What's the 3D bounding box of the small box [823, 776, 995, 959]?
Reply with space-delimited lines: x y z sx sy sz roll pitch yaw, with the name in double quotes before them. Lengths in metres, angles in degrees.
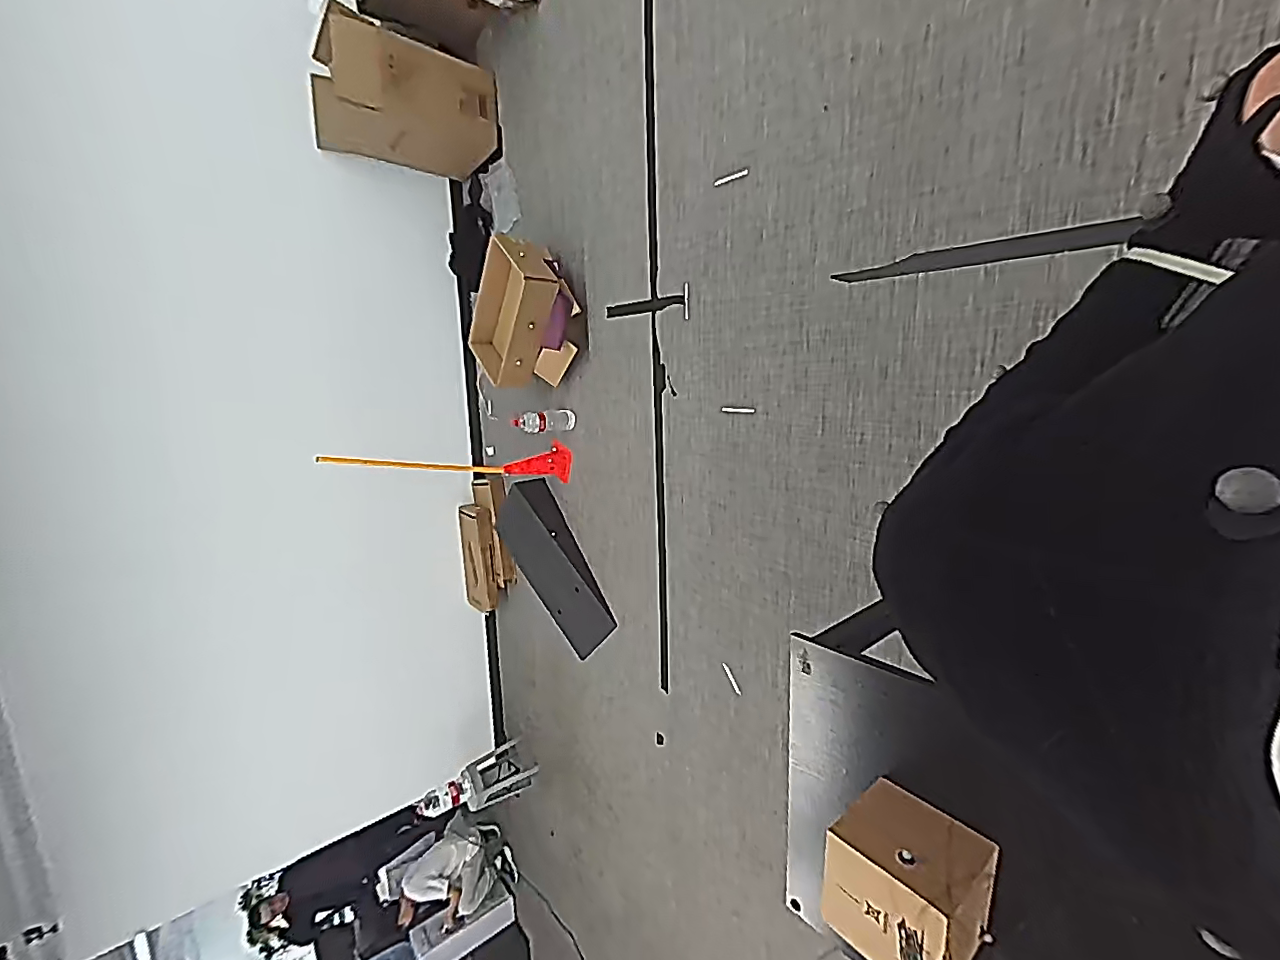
"small box" 0.402 0.589 0.812 0.179 0.176 0.168 14 109 50
